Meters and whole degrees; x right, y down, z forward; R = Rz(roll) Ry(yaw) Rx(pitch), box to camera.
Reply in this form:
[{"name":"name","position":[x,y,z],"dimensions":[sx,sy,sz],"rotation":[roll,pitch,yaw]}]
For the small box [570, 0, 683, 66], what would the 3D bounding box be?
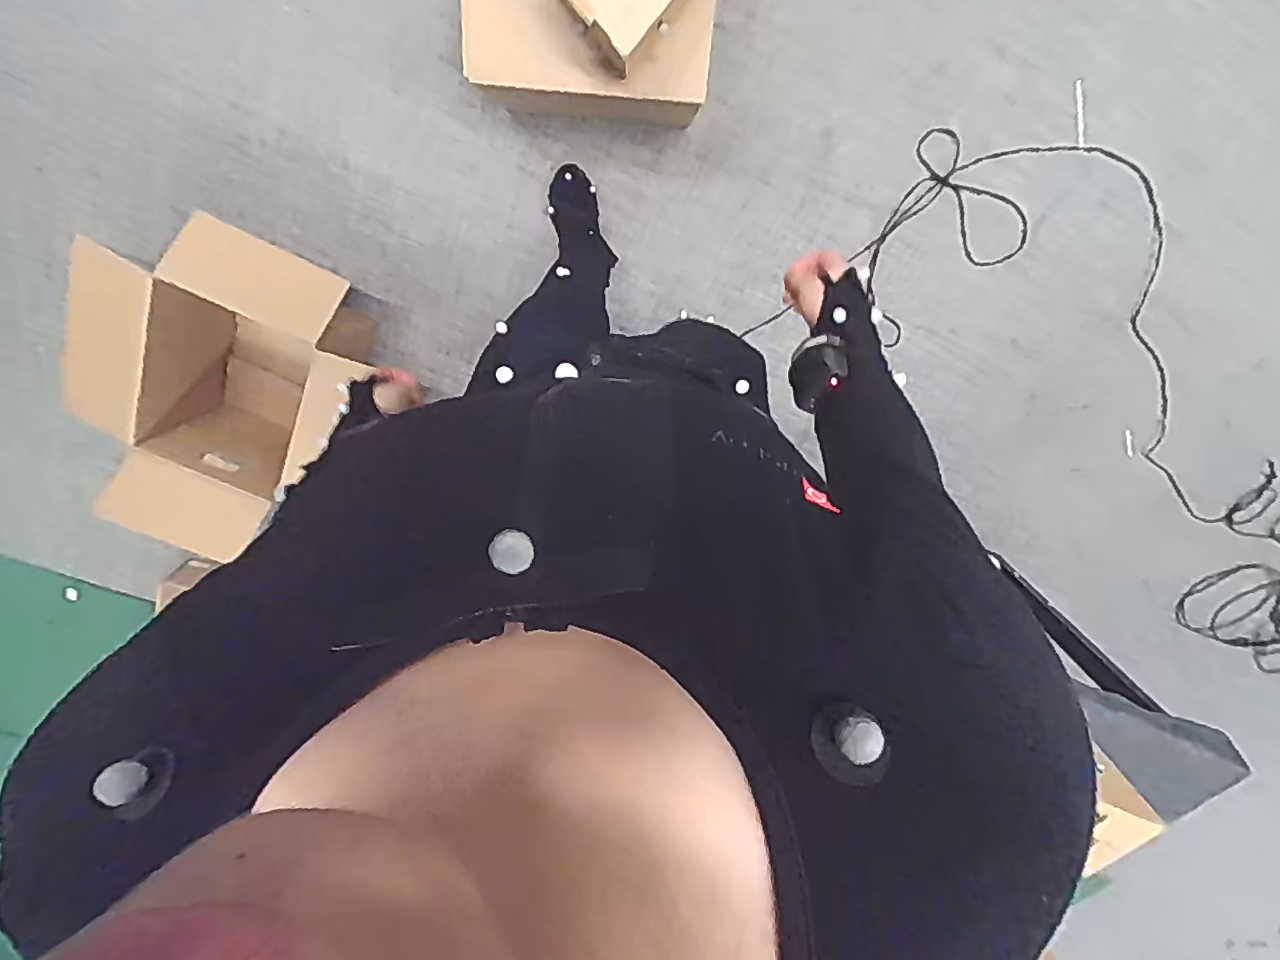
[{"name":"small box","position":[-0.020,-0.735,0.761],"dimensions":[0.168,0.176,0.179],"rotation":[41,112,-20]}]
